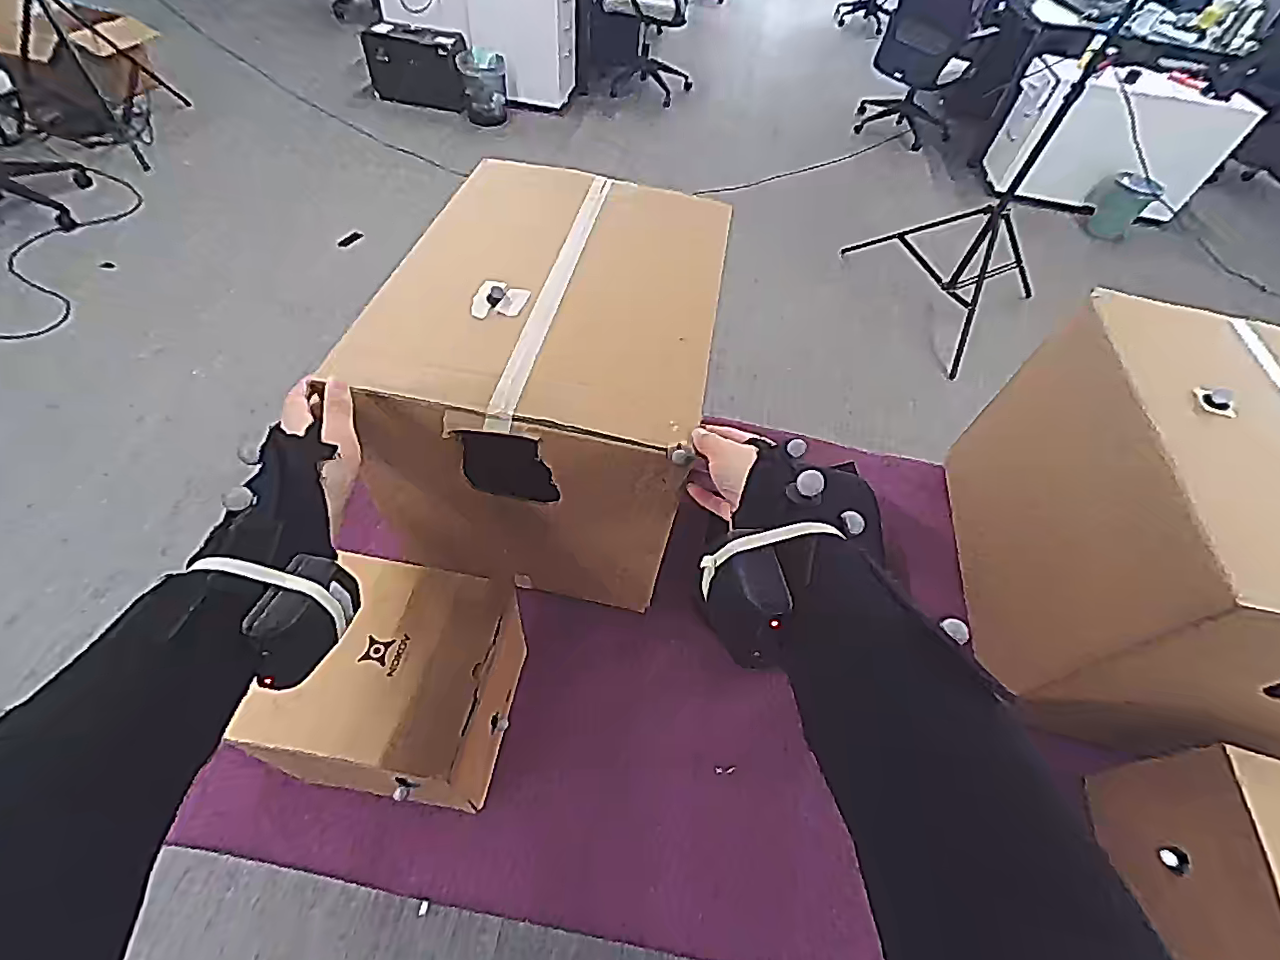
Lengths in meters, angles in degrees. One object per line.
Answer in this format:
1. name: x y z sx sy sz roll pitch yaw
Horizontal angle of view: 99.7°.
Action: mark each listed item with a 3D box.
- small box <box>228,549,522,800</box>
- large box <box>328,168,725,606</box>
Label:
1. small box: -0.221 0.190 0.513 0.179 0.176 0.168 10 52 0
2. large box: -0.090 -0.110 0.668 0.320 0.320 0.408 10 55 2
